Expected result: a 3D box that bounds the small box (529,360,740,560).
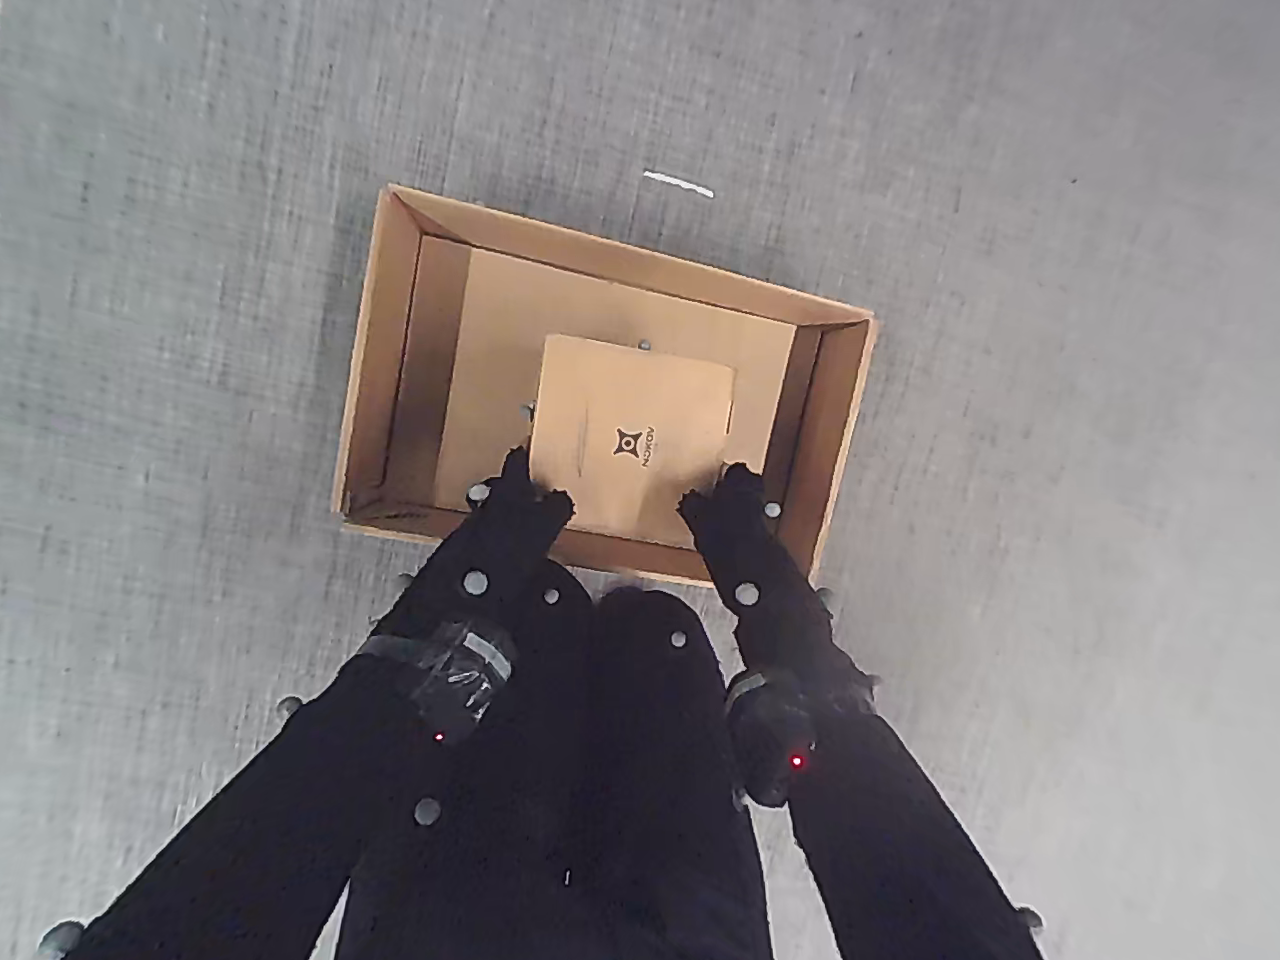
[{"bbox_3d":[-0.018,-0.022,0.549,0.179,0.176,0.168,4,95,-12],"label":"small box"}]
